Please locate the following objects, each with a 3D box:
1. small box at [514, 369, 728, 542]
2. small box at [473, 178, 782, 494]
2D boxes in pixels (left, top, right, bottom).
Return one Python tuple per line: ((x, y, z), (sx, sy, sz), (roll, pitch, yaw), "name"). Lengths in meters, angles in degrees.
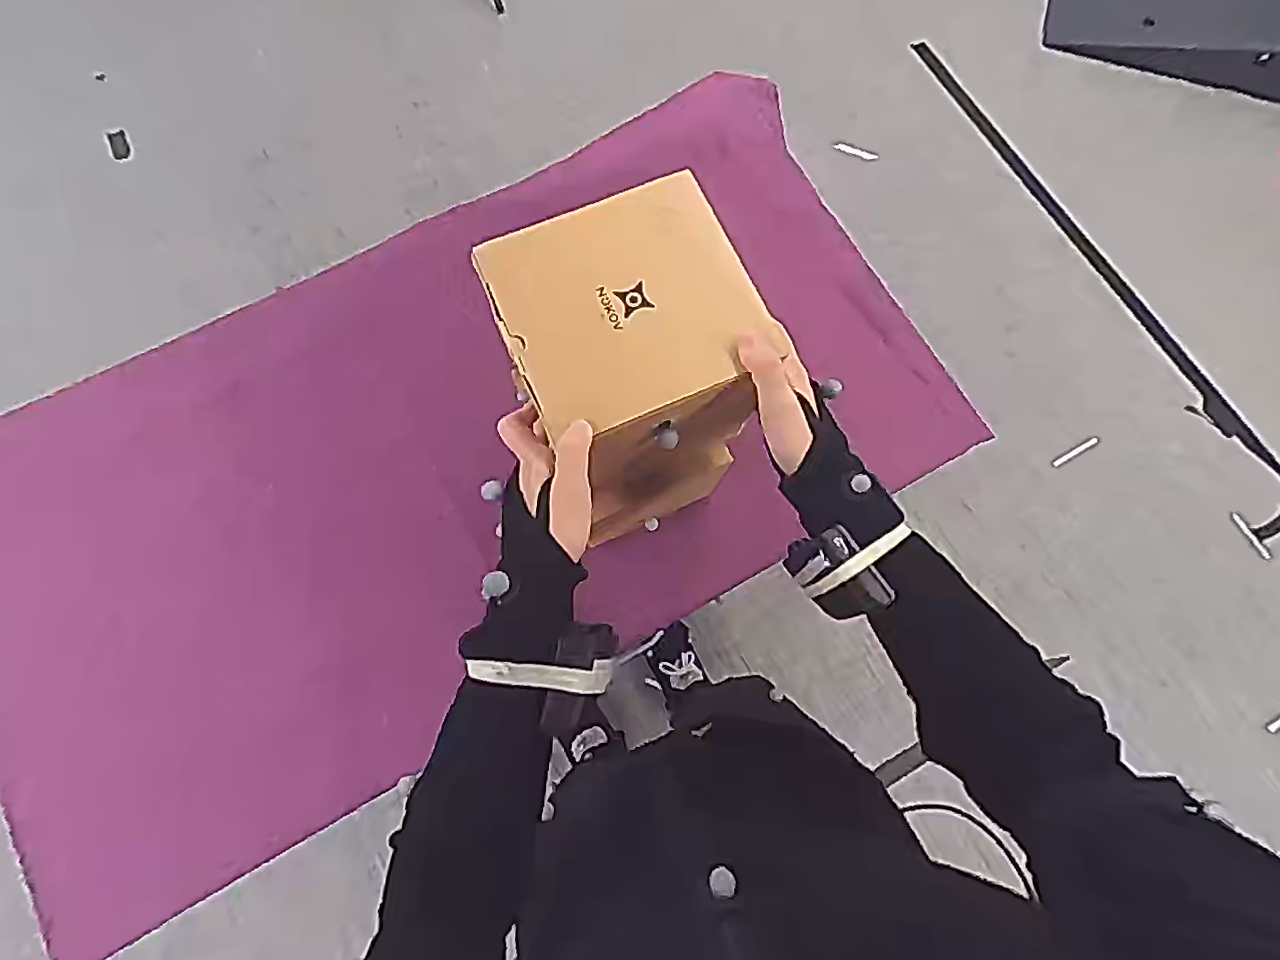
((-0.023, -0.045, 0.610), (0.168, 0.176, 0.179), (-23, 79, -6), "small box")
((-0.012, -0.104, 0.458), (0.179, 0.176, 0.168), (-23, 79, -6), "small box")
